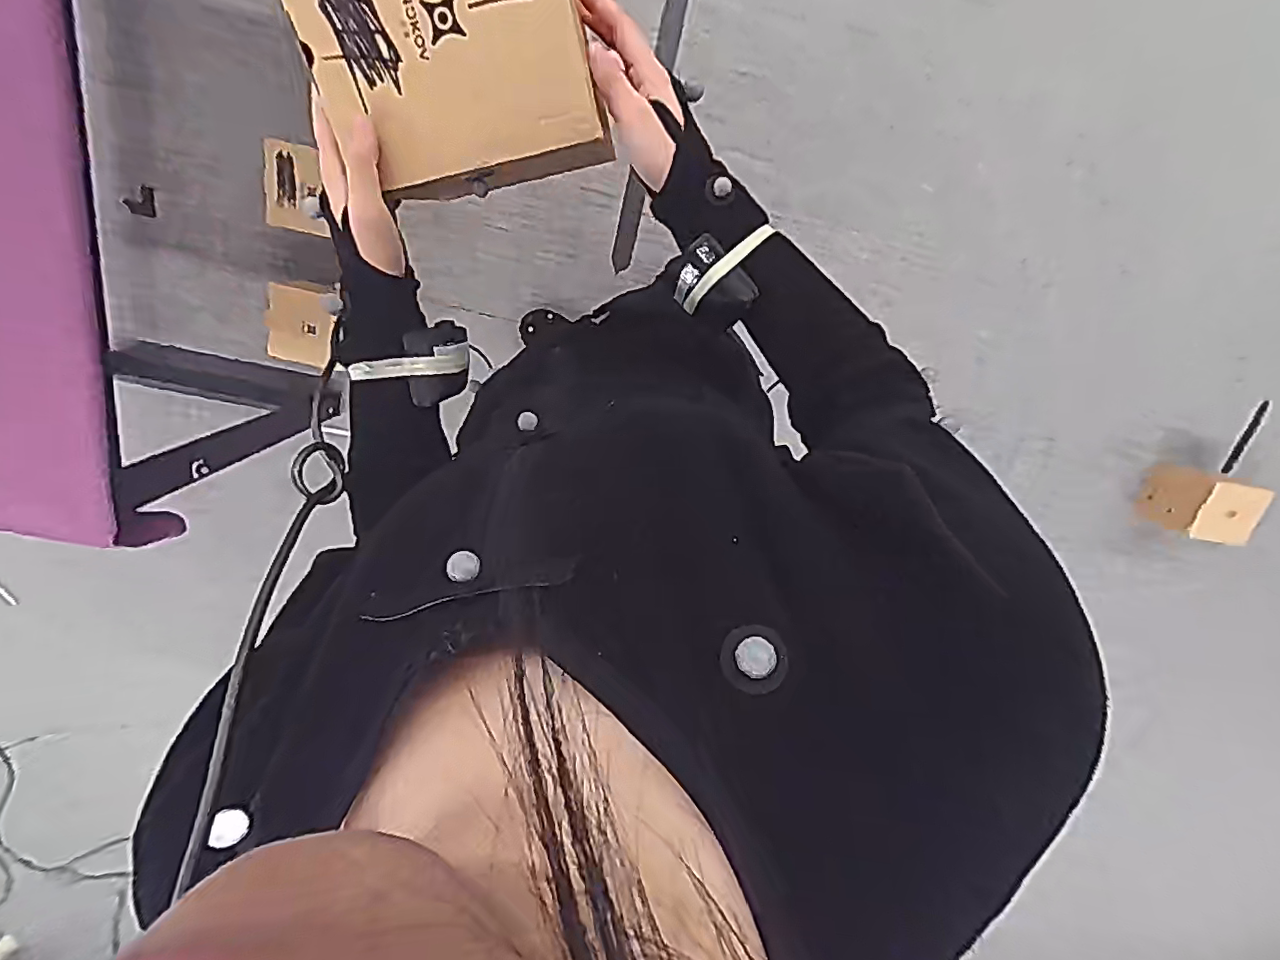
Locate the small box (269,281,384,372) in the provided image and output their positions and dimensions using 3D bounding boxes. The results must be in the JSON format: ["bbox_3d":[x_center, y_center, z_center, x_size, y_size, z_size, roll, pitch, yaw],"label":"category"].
[{"bbox_3d":[-0.746,-0.369,1.294,0.179,0.176,0.168,14,109,-5],"label":"small box"}]

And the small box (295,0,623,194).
[{"bbox_3d":[-0.117,-0.318,0.398,0.179,0.176,0.168,-9,116,7],"label":"small box"}]
